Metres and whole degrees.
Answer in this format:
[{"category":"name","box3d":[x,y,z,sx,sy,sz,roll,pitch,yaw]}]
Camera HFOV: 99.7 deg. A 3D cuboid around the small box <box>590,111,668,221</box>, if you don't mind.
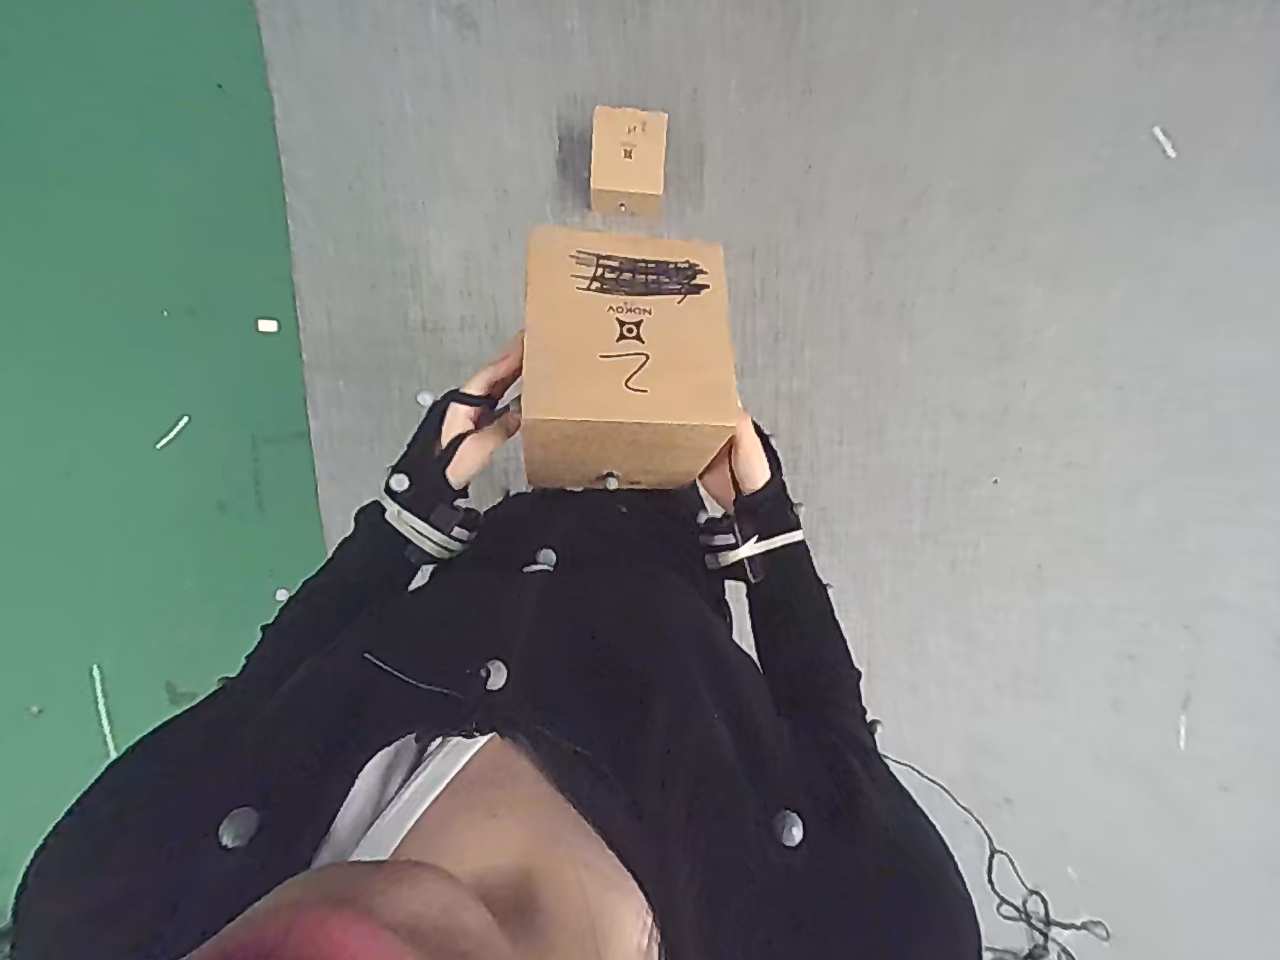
[{"category":"small box","box3d":[-0.029,-0.737,1.289,0.168,0.176,0.179,4,98,-4]}]
